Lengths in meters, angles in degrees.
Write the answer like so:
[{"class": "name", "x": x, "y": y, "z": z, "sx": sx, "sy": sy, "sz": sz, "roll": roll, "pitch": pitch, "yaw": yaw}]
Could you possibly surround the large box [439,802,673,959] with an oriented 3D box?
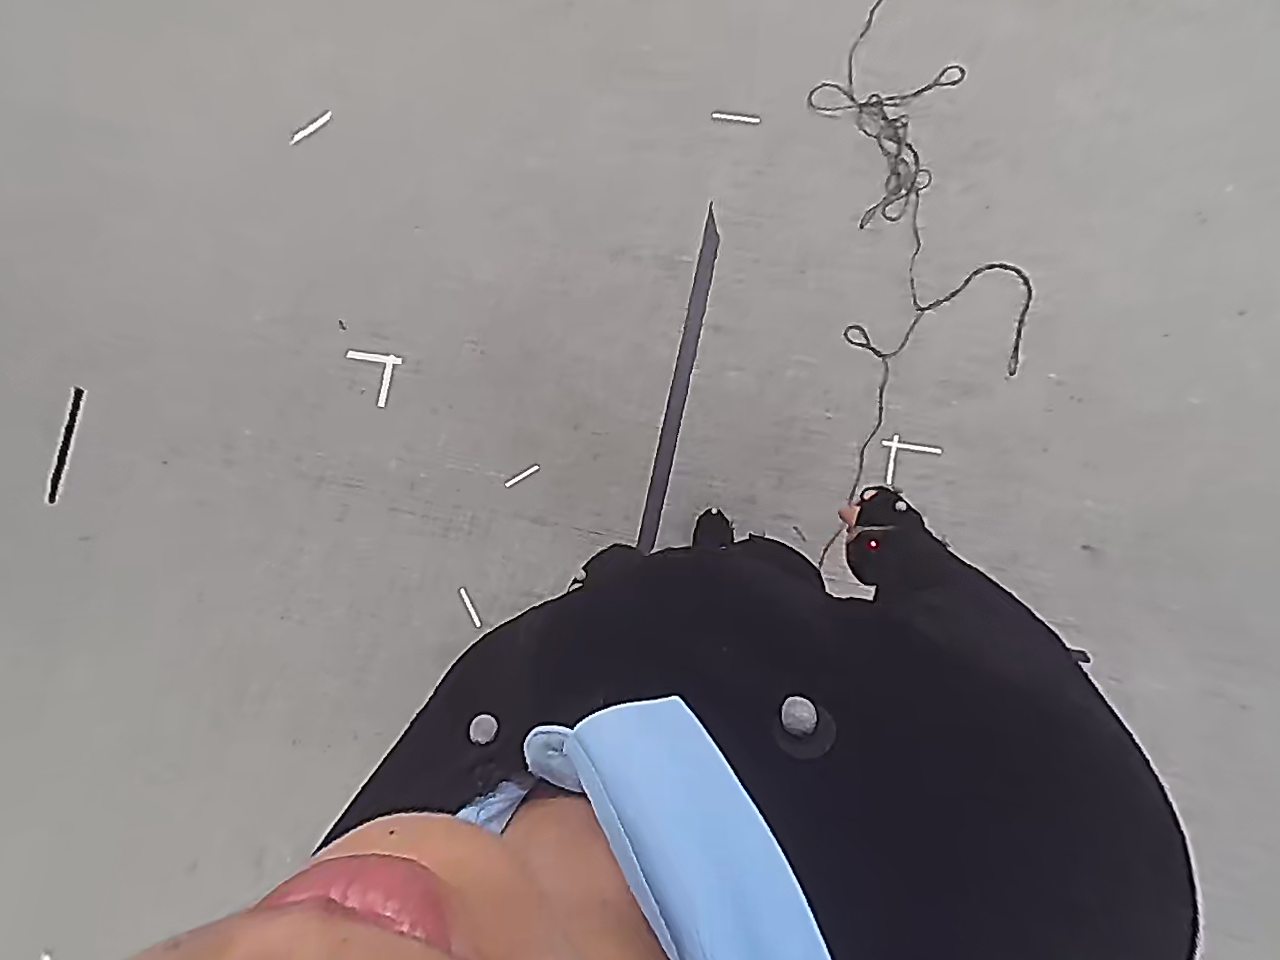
[{"class": "large box", "x": -0.159, "y": 0.934, "z": 1.110, "sx": 0.408, "sy": 0.320, "sz": 0.320, "roll": 12, "pitch": 84, "yaw": 7}]
